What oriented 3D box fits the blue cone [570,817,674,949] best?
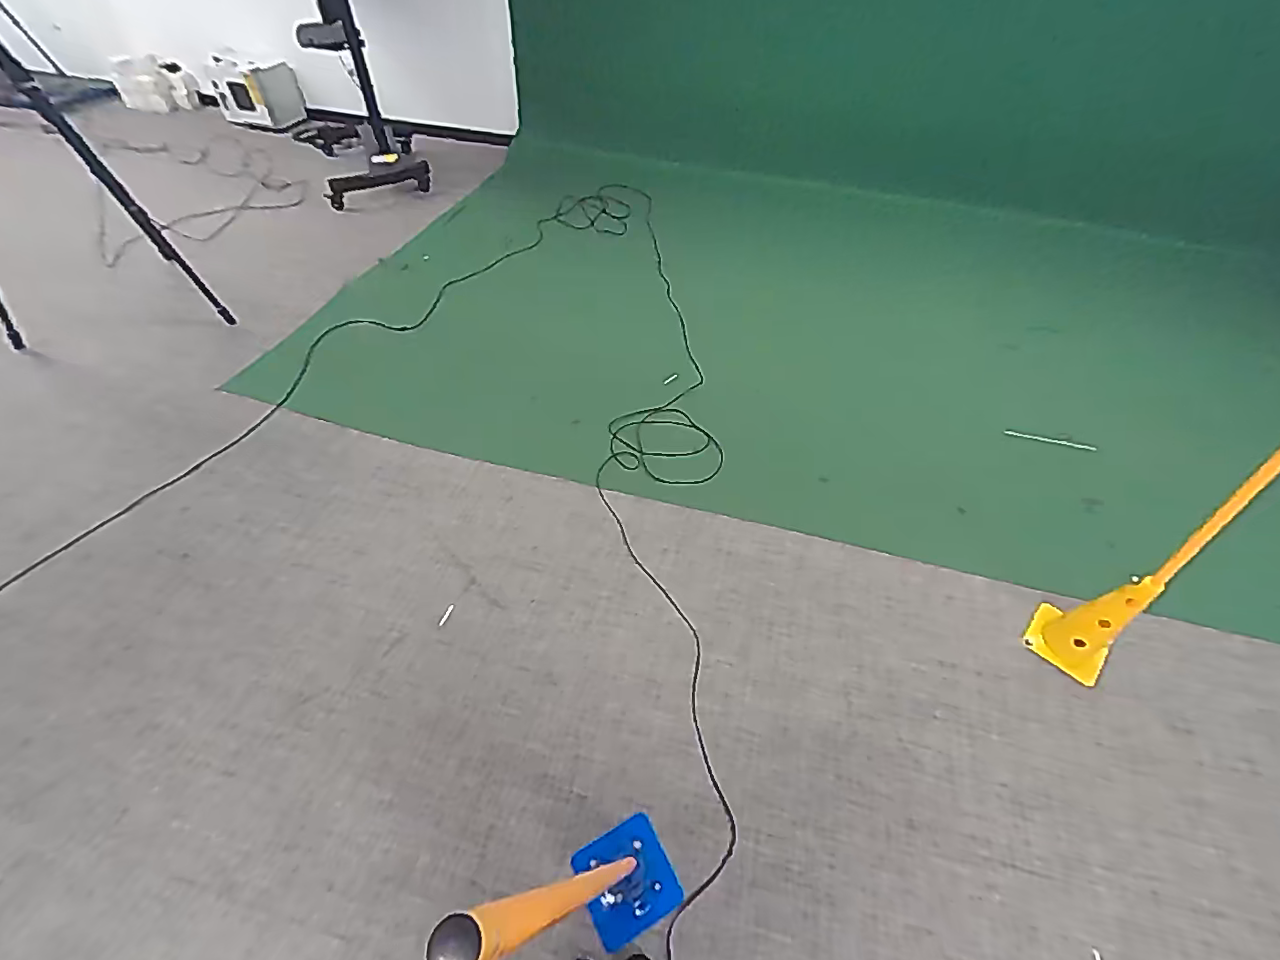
[{"bbox_3d":[-0.033,0.780,1.063,0.193,0.380,0.192,-24,55,-20],"label":"blue cone"}]
